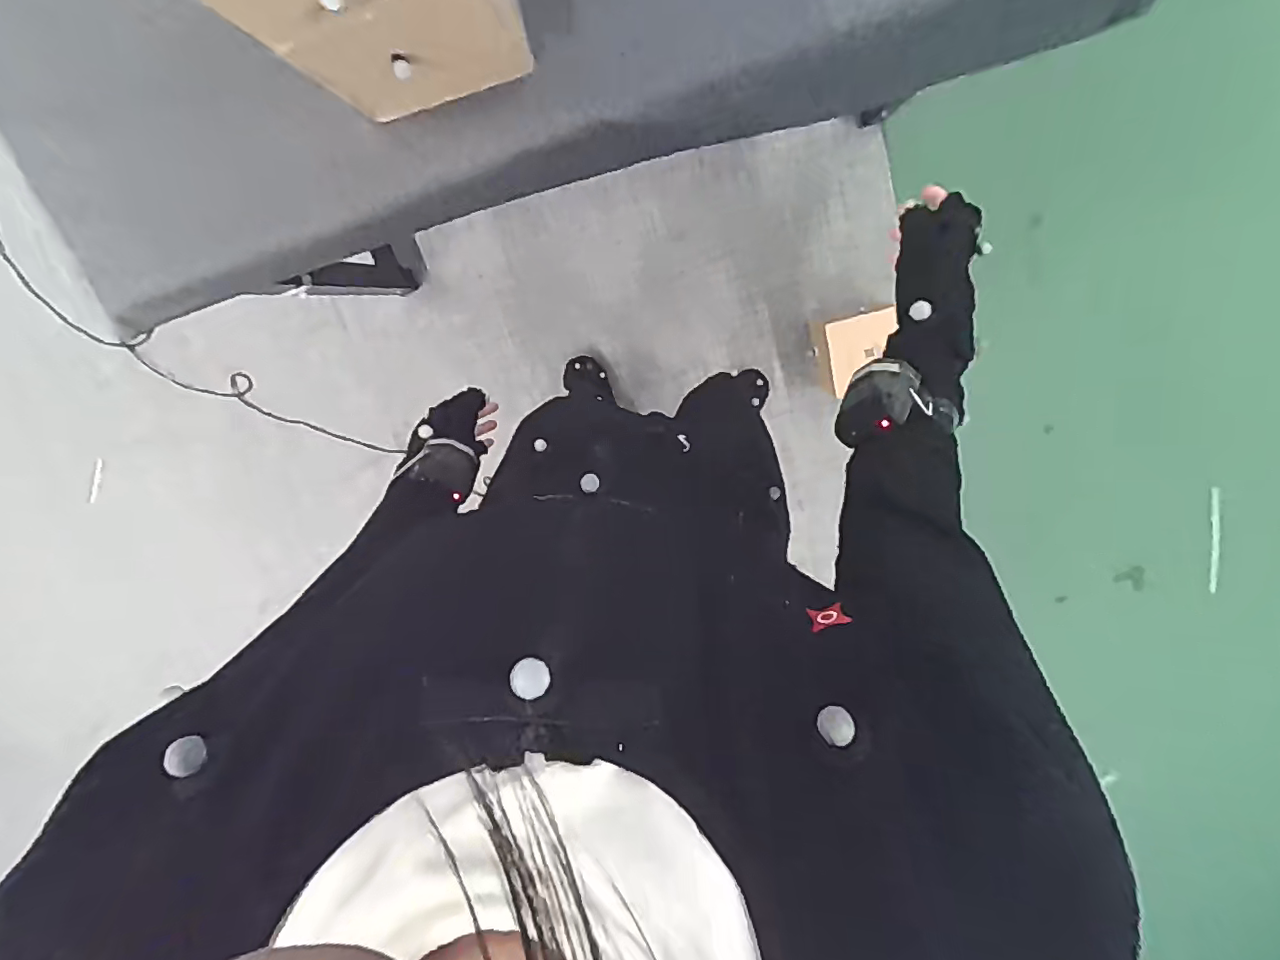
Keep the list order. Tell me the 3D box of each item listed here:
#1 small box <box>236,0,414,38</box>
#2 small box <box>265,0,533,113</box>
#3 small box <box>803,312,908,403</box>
[{"bbox_3d":[-0.223,-0.408,0.304,0.168,0.176,0.179,-13,106,6],"label":"small box"},{"bbox_3d":[-0.212,-0.451,0.463,0.179,0.176,0.168,-13,106,7],"label":"small box"},{"bbox_3d":[0.493,-0.289,1.252,0.179,0.176,0.168,-12,106,8],"label":"small box"}]
